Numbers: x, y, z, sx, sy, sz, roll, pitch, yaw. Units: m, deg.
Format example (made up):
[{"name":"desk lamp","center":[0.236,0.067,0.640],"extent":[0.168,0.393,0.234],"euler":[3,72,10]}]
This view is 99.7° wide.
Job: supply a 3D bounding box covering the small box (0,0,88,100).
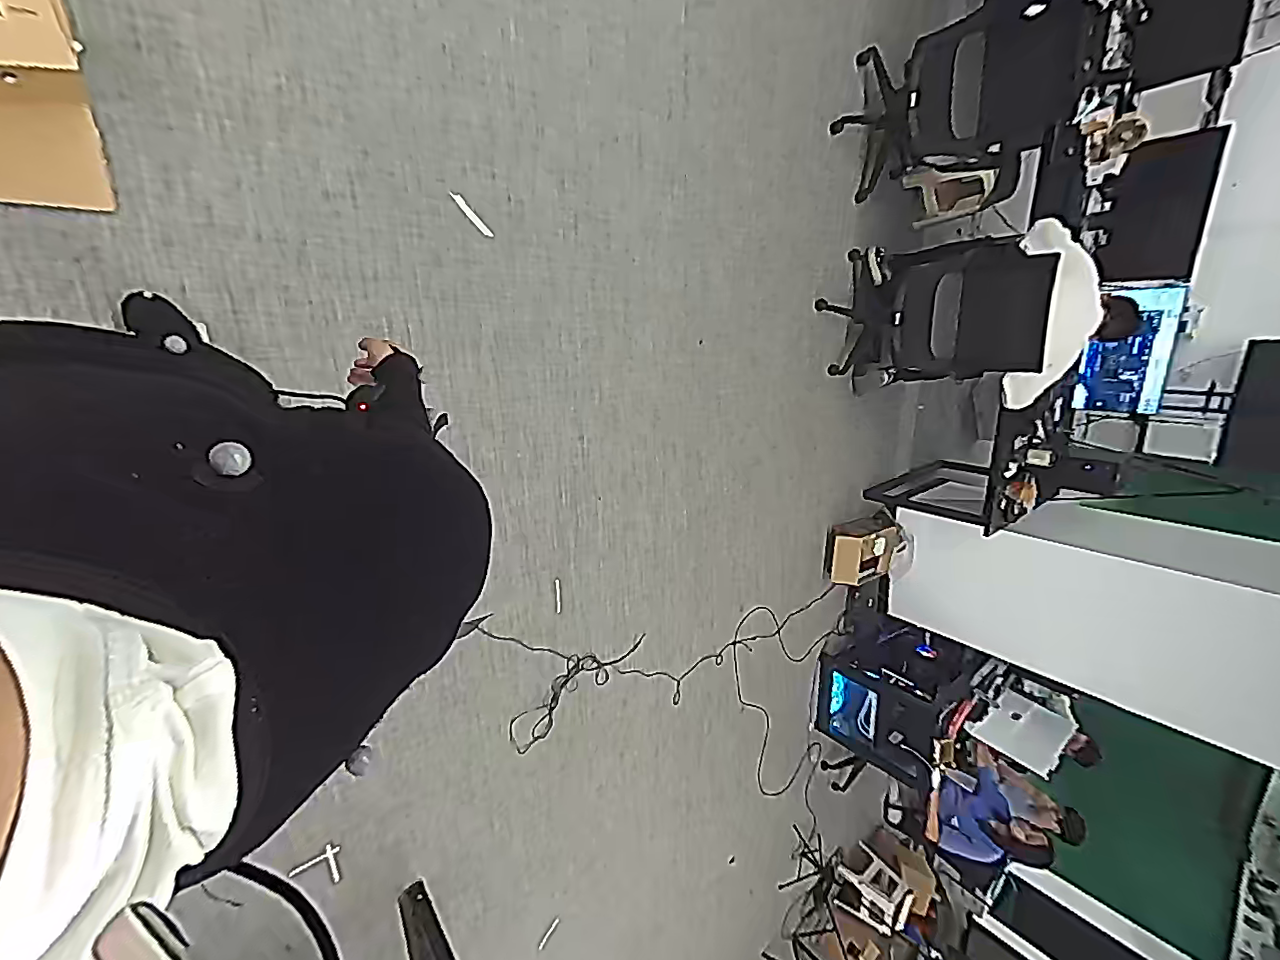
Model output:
[{"name":"small box","center":[-1.113,-0.779,0.931],"extent":[0.179,0.176,0.168],"euler":[-23,116,-34]}]
